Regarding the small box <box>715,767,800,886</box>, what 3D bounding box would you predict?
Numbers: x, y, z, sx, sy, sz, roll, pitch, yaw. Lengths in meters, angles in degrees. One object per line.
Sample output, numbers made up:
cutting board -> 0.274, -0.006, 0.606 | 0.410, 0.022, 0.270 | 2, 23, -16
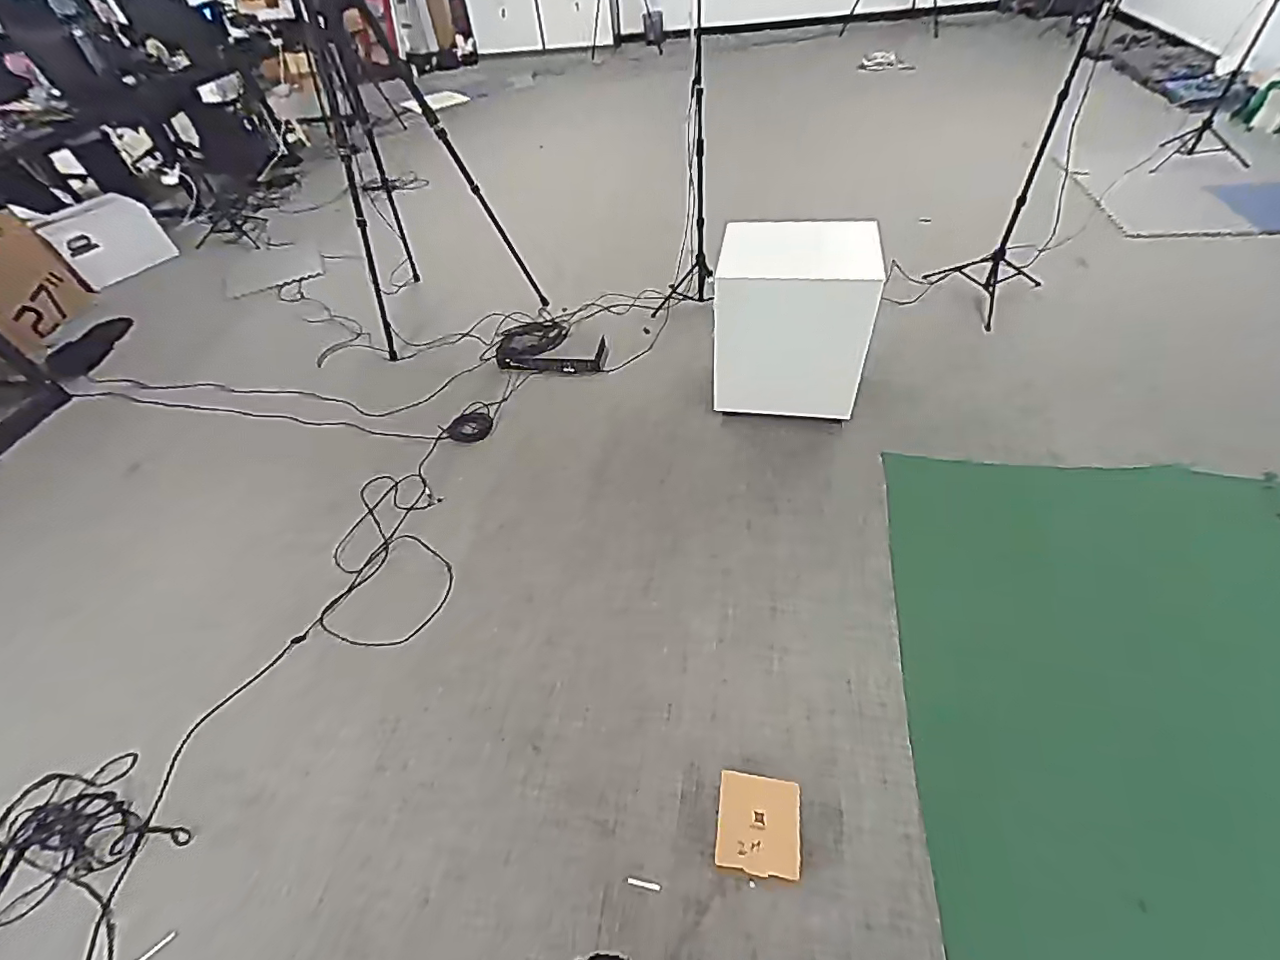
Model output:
small box -> 0.255, 0.757, 1.181 | 0.168, 0.176, 0.179 | 4, 50, 12
